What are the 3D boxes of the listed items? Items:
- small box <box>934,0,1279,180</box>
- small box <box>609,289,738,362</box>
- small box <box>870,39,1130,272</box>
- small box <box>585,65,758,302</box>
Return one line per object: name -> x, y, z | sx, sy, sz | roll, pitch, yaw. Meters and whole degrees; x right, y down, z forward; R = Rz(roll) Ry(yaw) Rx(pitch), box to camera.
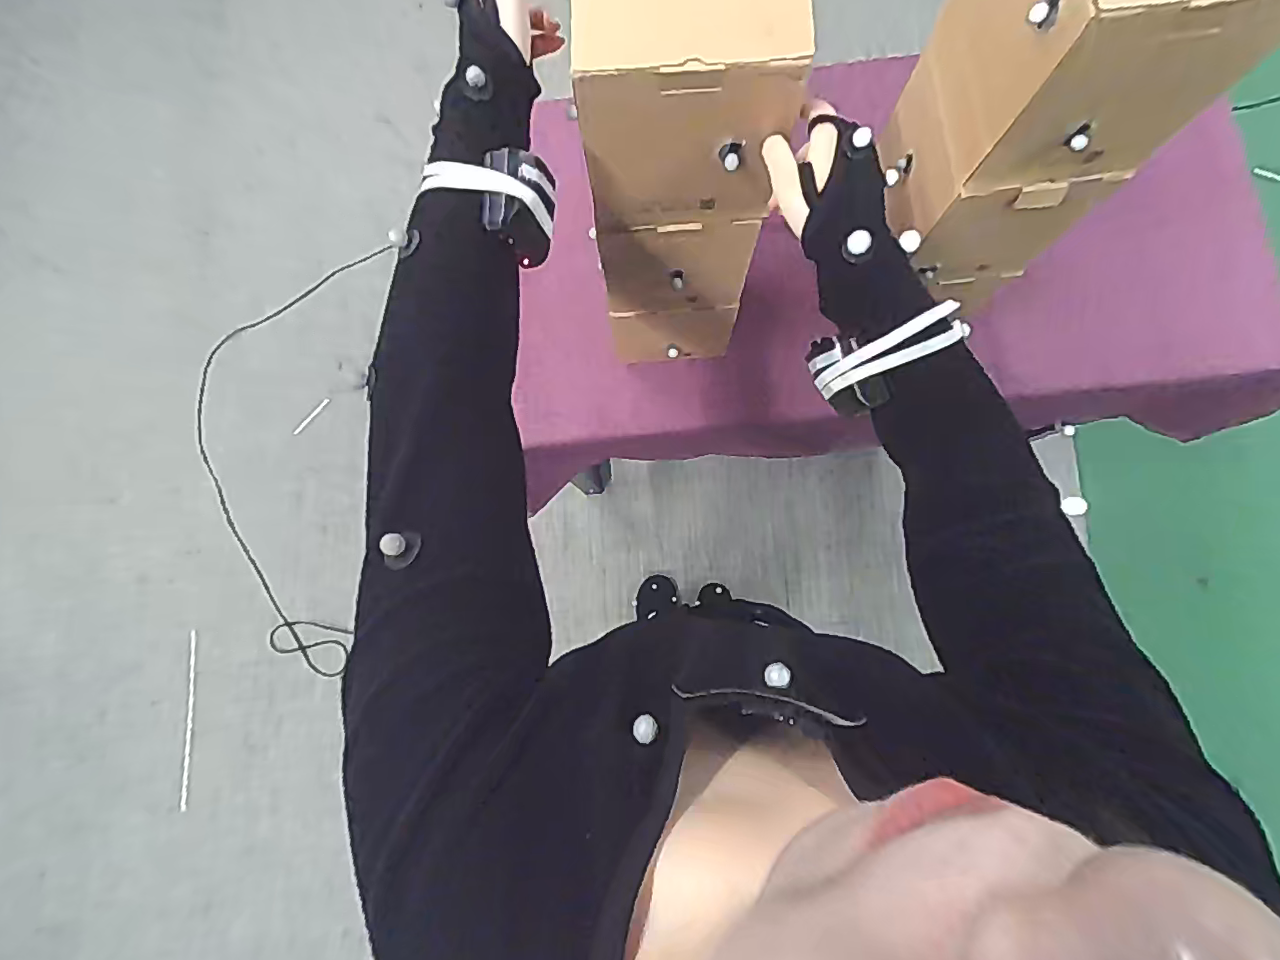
small box -> 0.372, -0.388, 0.446 | 0.168, 0.176, 0.179 | -7, 81, 2
small box -> 0.042, -0.287, 0.777 | 0.168, 0.176, 0.179 | -4, 81, 3
small box -> 0.379, -0.352, 0.605 | 0.168, 0.176, 0.179 | -6, 80, 2
small box -> 0.033, -0.317, 0.615 | 0.168, 0.176, 0.179 | -4, 81, 1
